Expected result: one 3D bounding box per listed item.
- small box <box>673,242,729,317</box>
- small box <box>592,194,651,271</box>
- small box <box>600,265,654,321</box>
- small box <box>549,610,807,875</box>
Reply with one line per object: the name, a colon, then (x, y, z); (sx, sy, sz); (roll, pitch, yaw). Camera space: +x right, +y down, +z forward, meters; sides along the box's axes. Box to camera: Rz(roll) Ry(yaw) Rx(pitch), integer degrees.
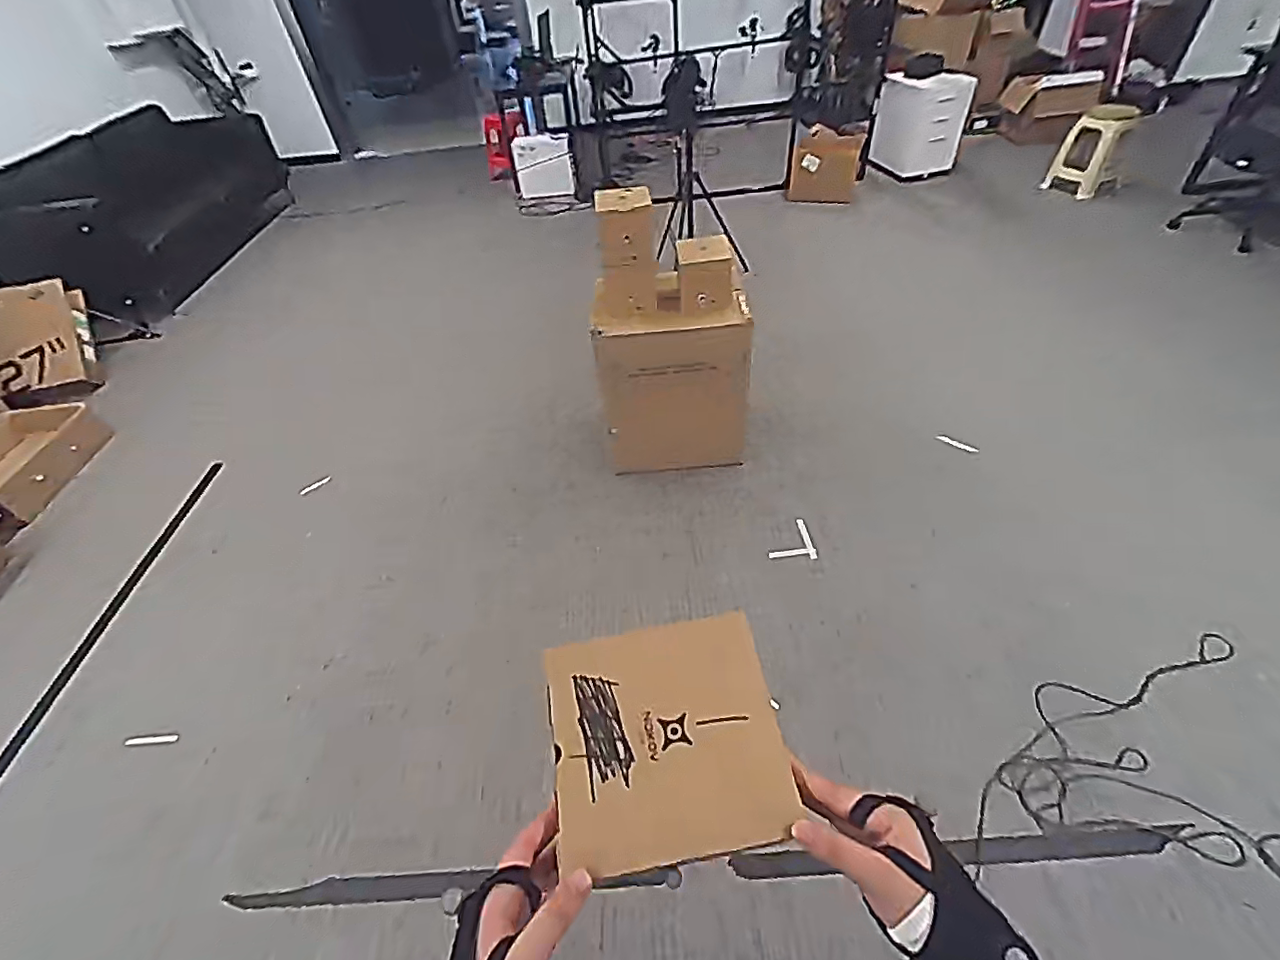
small box: (0.200, -0.660, 1.784); (0.168, 0.176, 0.179); (-7, 47, 3)
small box: (-0.057, -0.765, 1.685); (0.168, 0.176, 0.179); (-6, 46, -1)
small box: (-0.043, -0.649, 1.800); (0.168, 0.176, 0.179); (-5, 46, 0)
small box: (0.027, 0.238, 0.482); (0.179, 0.176, 0.168); (-10, 54, -2)
